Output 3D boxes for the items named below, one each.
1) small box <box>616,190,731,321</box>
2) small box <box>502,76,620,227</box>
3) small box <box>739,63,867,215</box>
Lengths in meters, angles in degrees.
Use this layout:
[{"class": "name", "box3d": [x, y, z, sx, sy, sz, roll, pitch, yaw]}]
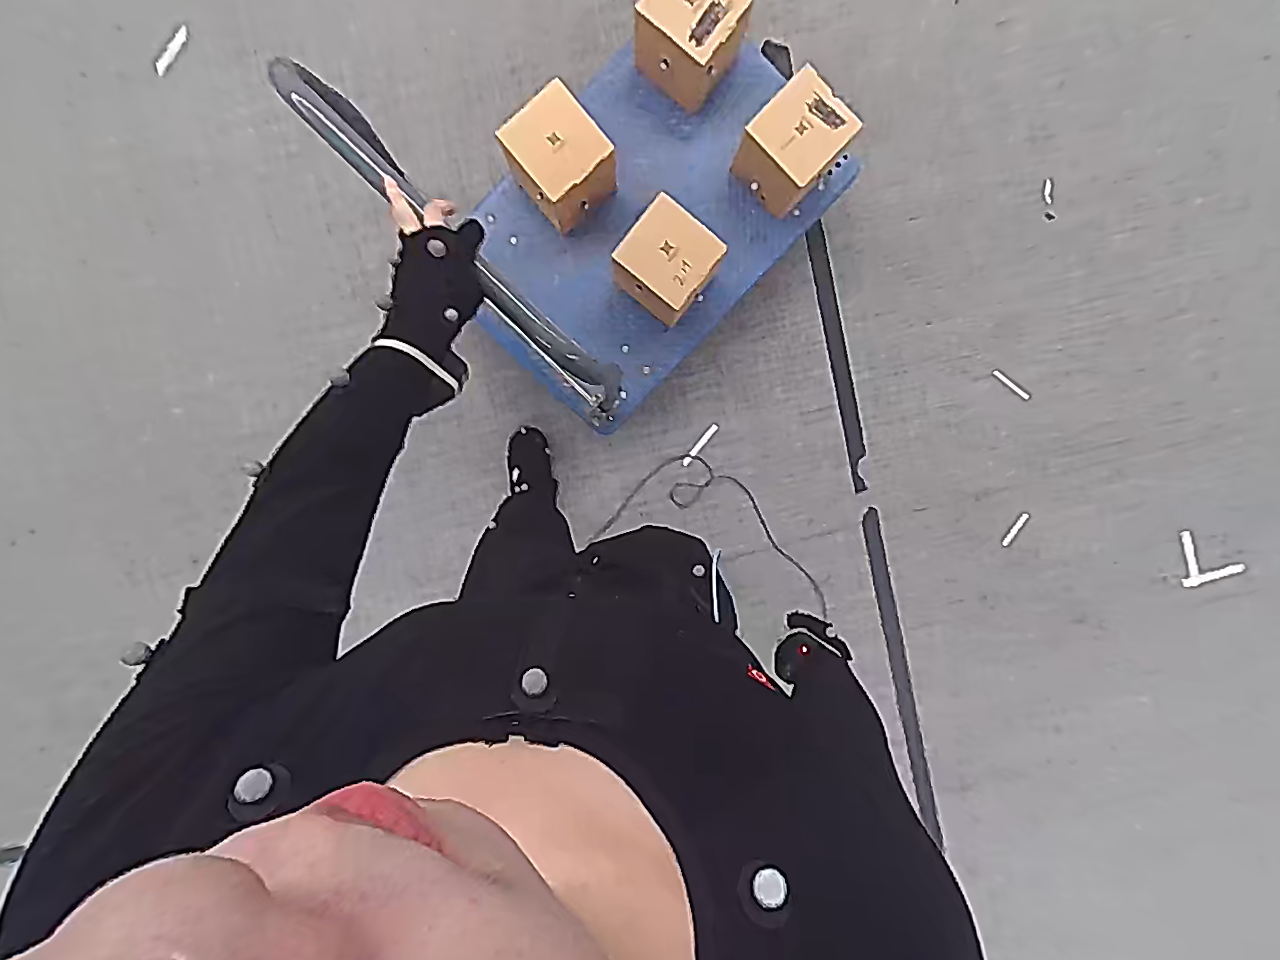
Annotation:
[{"class": "small box", "box3d": [0.065, -0.467, 1.158, 0.179, 0.176, 0.168, 40, 93, -3]}, {"class": "small box", "box3d": [-0.159, -0.677, 1.138, 0.168, 0.176, 0.179, -41, 96, 2]}, {"class": "small box", "box3d": [0.332, -0.707, 1.144, 0.179, 0.176, 0.168, -45, 94, 4]}]
